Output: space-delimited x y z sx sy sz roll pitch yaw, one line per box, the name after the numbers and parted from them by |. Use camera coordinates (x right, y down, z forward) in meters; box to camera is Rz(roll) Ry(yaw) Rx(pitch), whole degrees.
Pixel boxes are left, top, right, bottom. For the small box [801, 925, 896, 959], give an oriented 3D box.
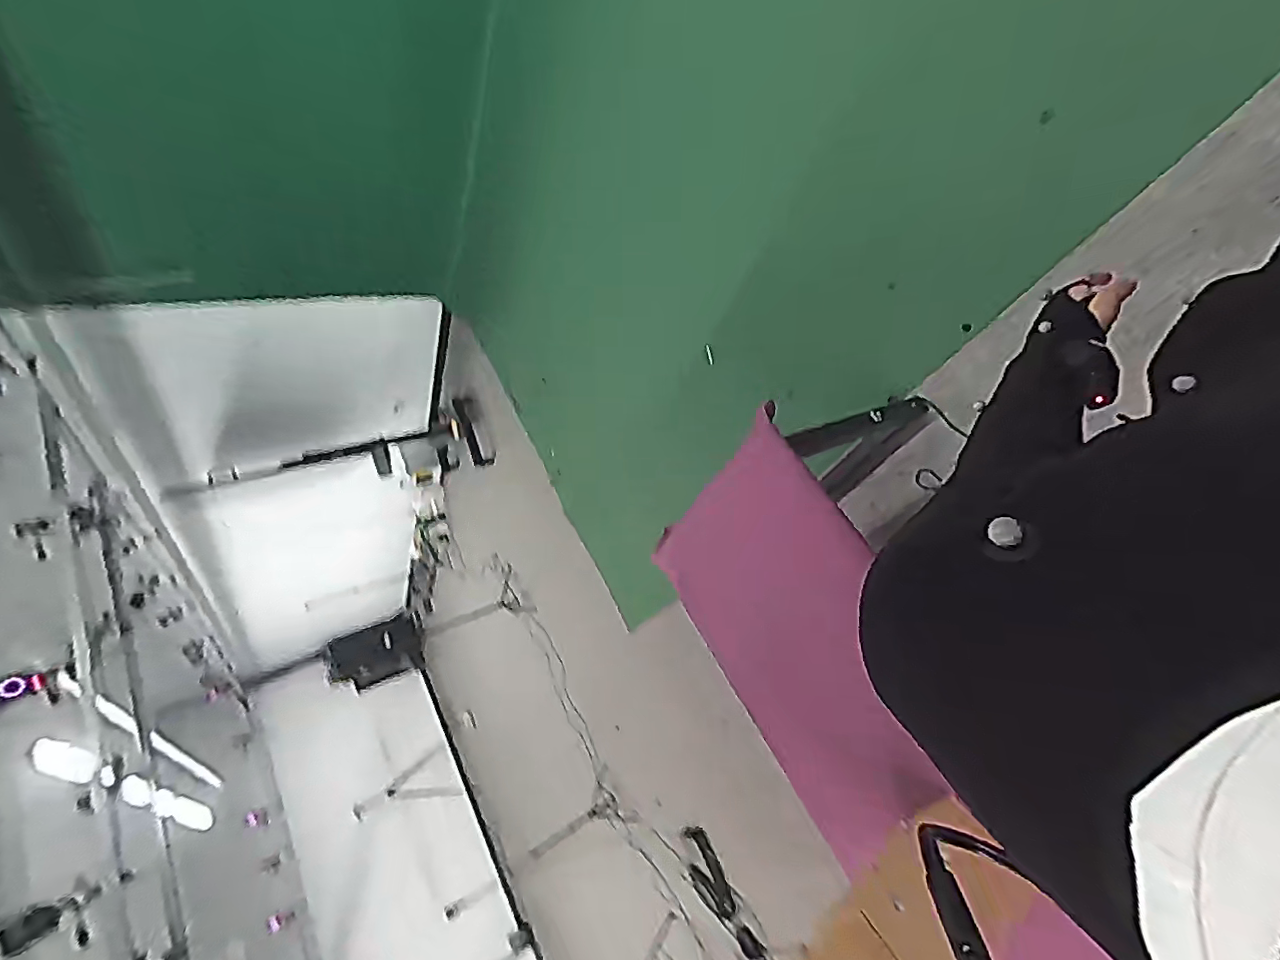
0.314 0.807 0.798 0.179 0.176 0.168 47 136 32 | small box

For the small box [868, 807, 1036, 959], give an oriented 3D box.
0.568 0.740 0.992 0.179 0.176 0.168 48 137 31 | small box
